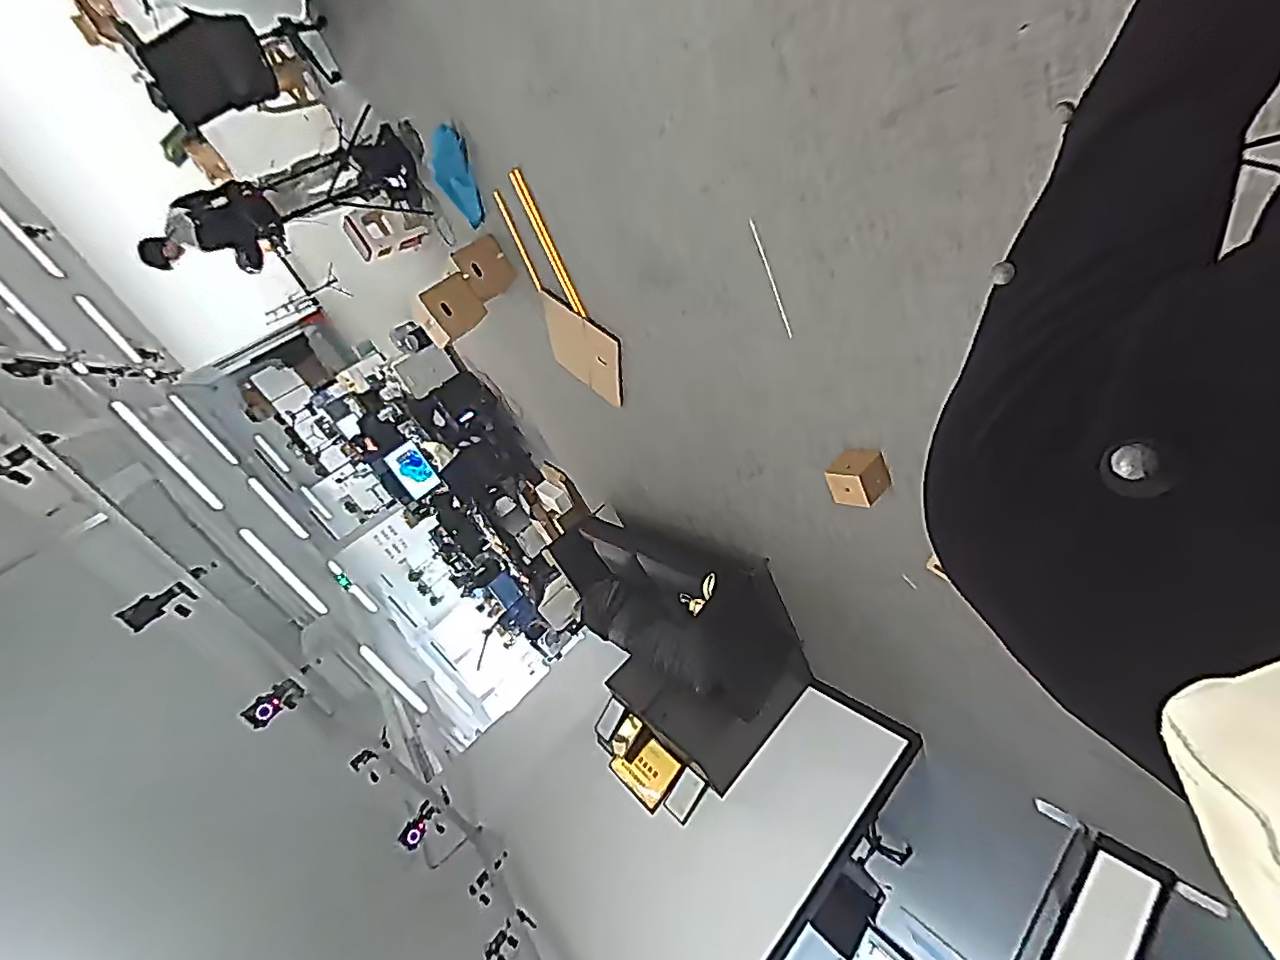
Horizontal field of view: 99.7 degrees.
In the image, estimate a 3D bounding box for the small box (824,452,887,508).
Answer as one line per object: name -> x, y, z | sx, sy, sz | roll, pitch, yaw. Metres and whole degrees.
small box -> 0.918, -0.004, 2.285 | 0.179, 0.176, 0.168 | 11, 135, 57
